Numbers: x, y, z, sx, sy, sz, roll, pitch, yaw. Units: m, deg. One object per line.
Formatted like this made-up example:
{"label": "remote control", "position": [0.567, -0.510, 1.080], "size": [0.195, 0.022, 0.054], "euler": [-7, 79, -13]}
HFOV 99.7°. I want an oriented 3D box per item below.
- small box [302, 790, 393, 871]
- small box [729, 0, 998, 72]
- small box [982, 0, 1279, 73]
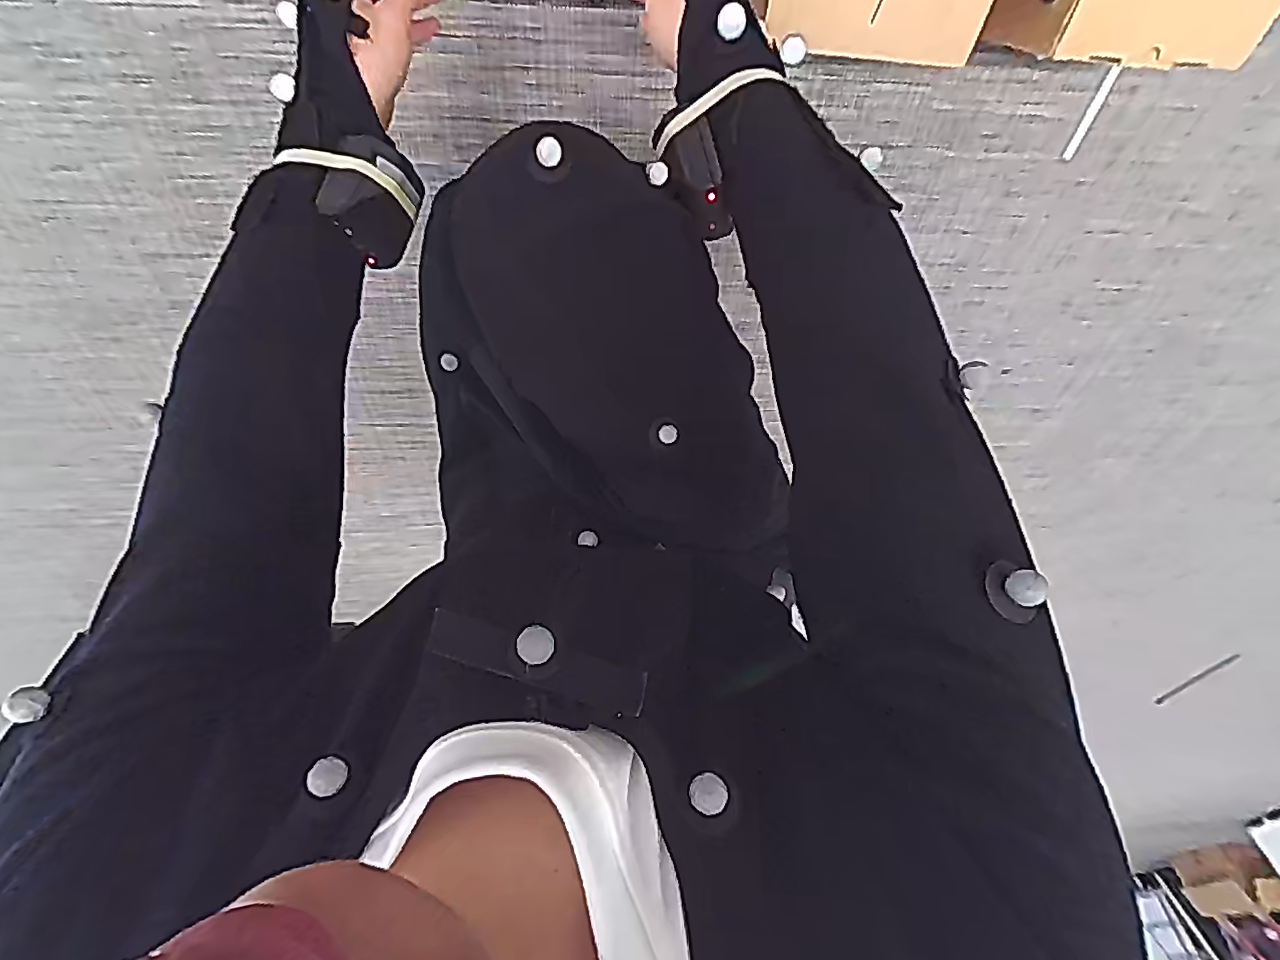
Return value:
{"label": "small box", "position": [-0.884, 1.069, 1.650], "size": [0.179, 0.176, 0.168], "euler": [-4, 135, -4]}
{"label": "small box", "position": [0.171, -0.432, 0.399], "size": [0.168, 0.176, 0.179], "euler": [1, 136, -7]}
{"label": "small box", "position": [0.398, -0.442, 0.418], "size": [0.168, 0.176, 0.179], "euler": [-1, 136, -6]}
